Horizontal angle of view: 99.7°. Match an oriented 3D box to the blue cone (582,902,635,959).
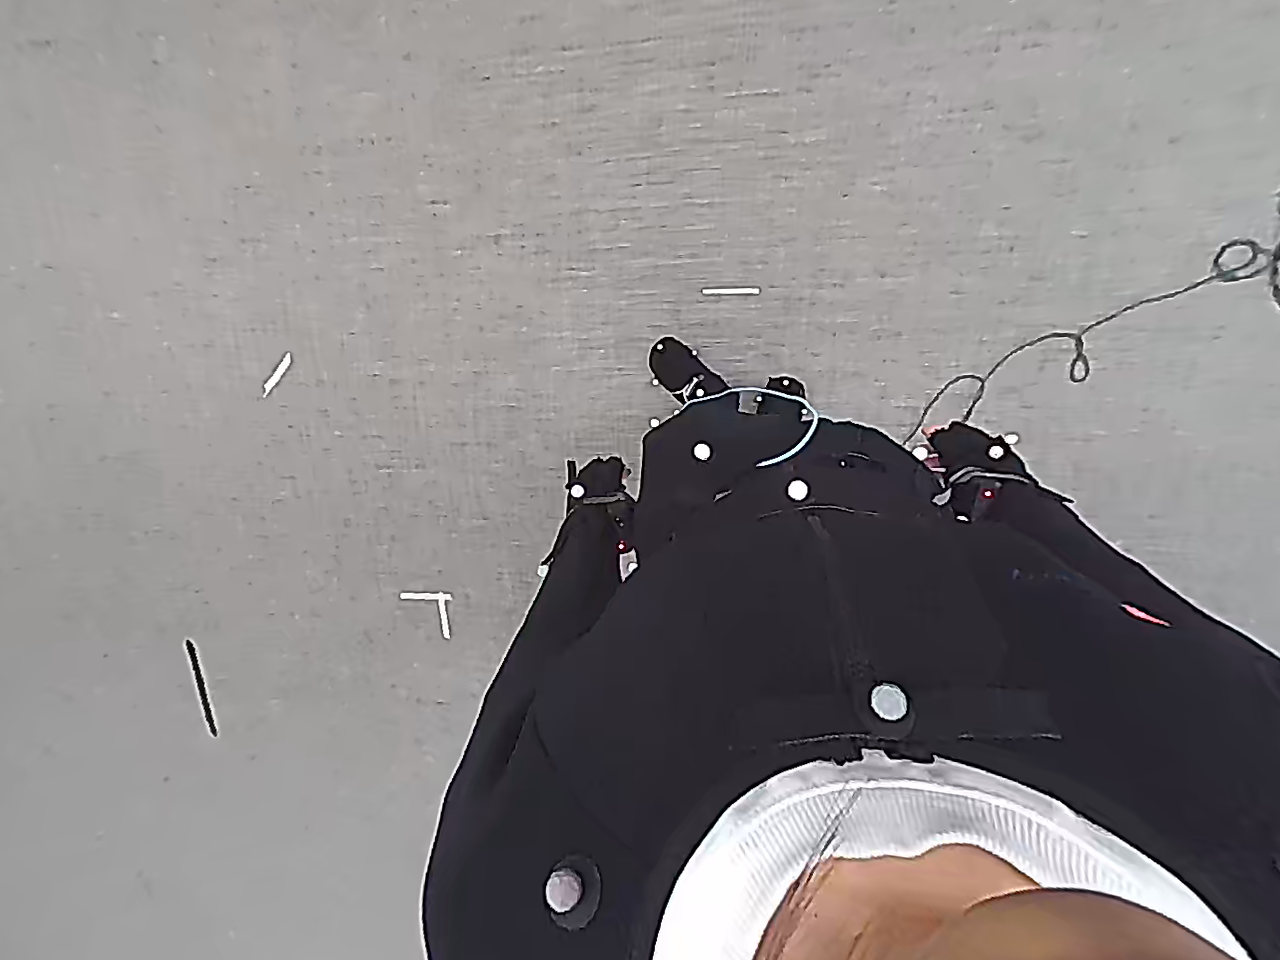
[{"bbox_3d":[-0.143,1.625,1.757,0.192,0.380,0.193,6,105,9],"label":"blue cone"}]
